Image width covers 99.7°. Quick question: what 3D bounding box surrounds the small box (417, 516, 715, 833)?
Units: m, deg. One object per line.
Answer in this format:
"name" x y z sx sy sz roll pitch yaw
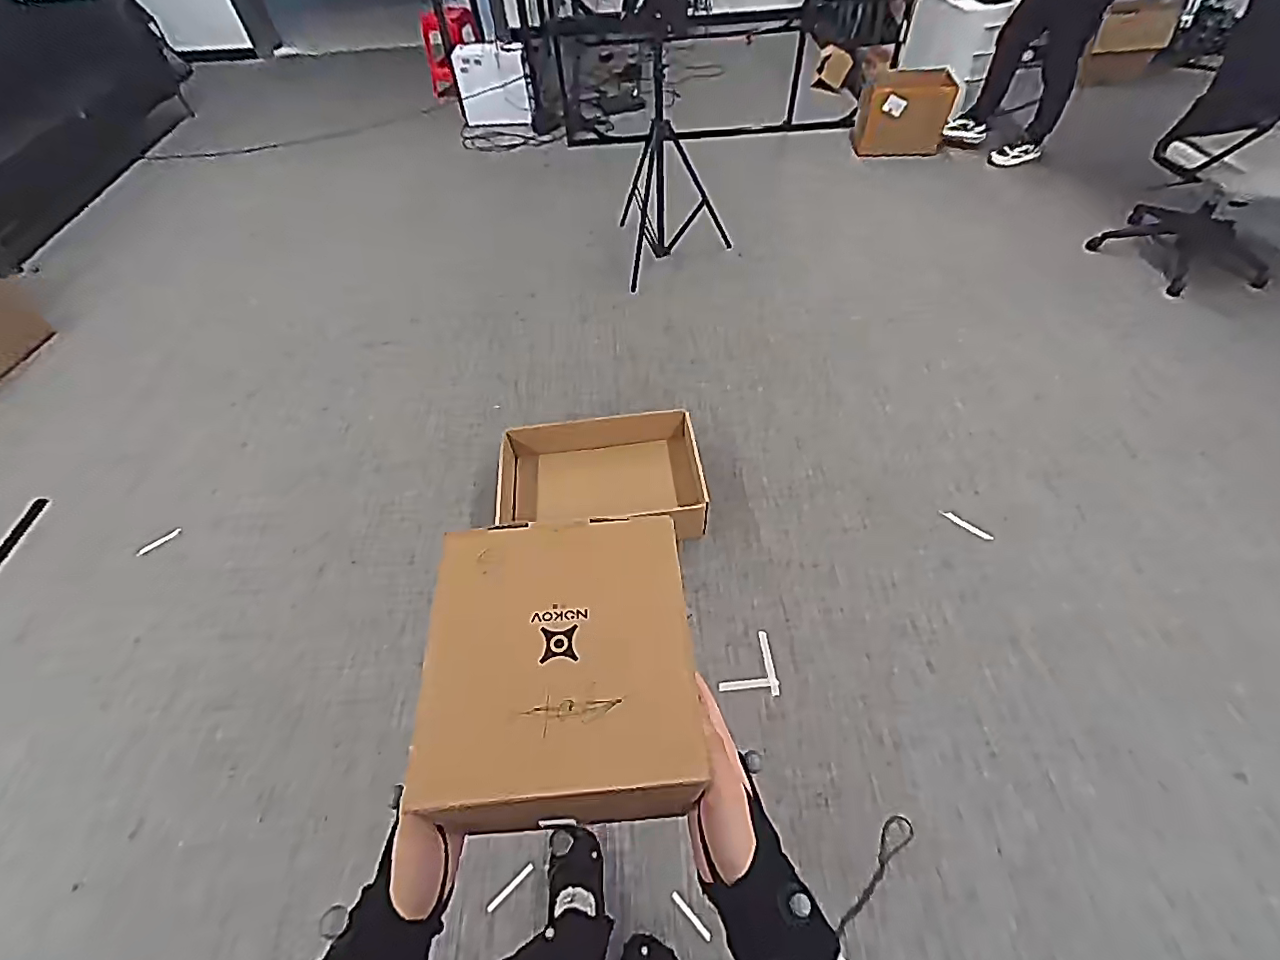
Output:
"small box" -0.048 0.148 0.407 0.168 0.176 0.179 -5 54 -4
